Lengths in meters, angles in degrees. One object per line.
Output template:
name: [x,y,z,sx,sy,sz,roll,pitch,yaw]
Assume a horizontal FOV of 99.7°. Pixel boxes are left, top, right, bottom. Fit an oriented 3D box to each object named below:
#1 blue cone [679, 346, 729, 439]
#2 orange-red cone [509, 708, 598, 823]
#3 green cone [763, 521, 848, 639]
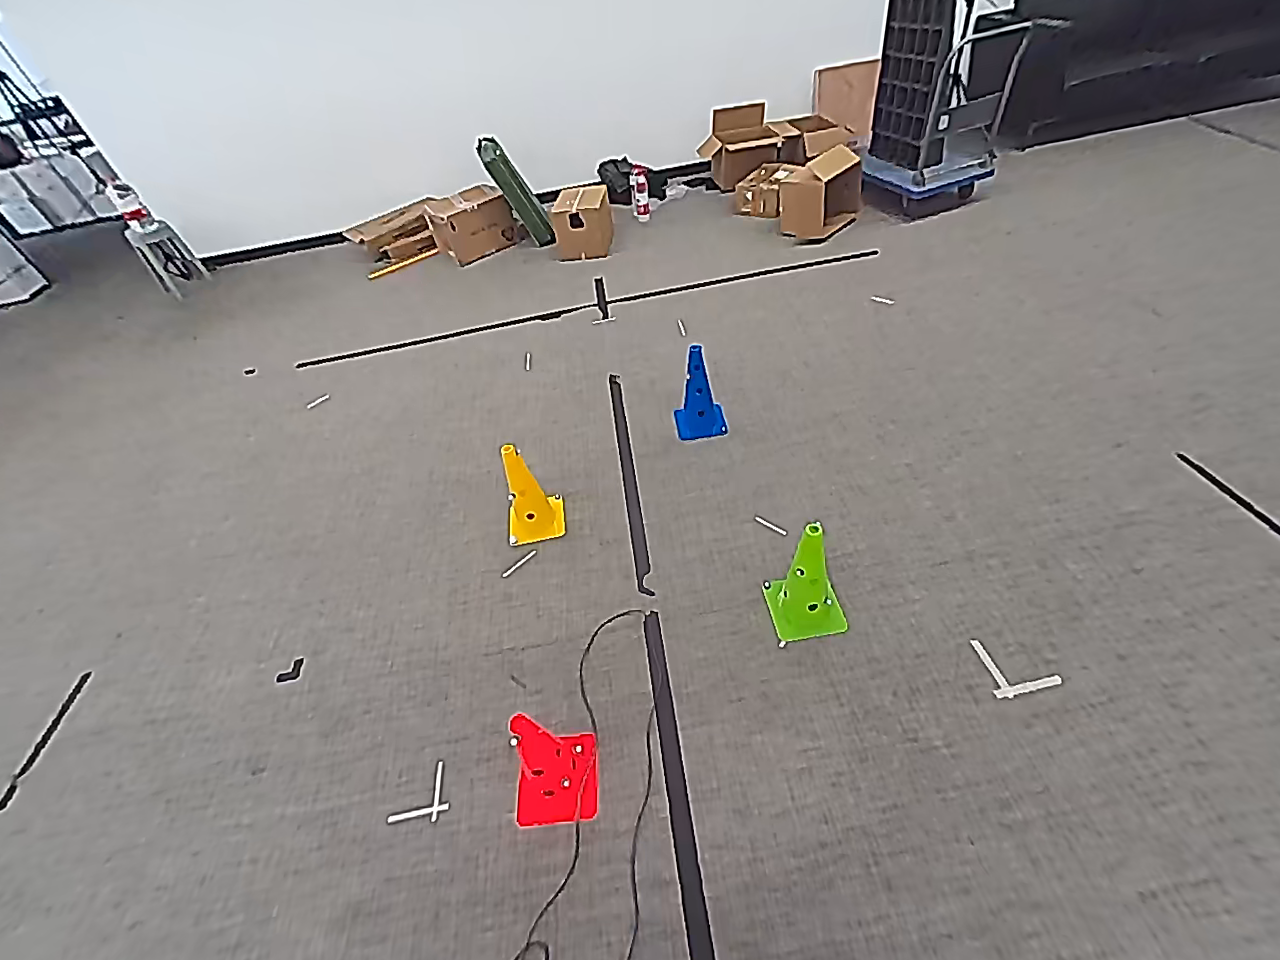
blue cone: [0.242,-0.354,2.123,0.192,0.380,0.193,-7,45,3]
orange-red cone: [-0.230,0.614,1.229,0.199,0.360,0.198,-8,43,4]
green cone: [0.459,0.247,1.461,0.202,0.368,0.200,-9,45,0]
